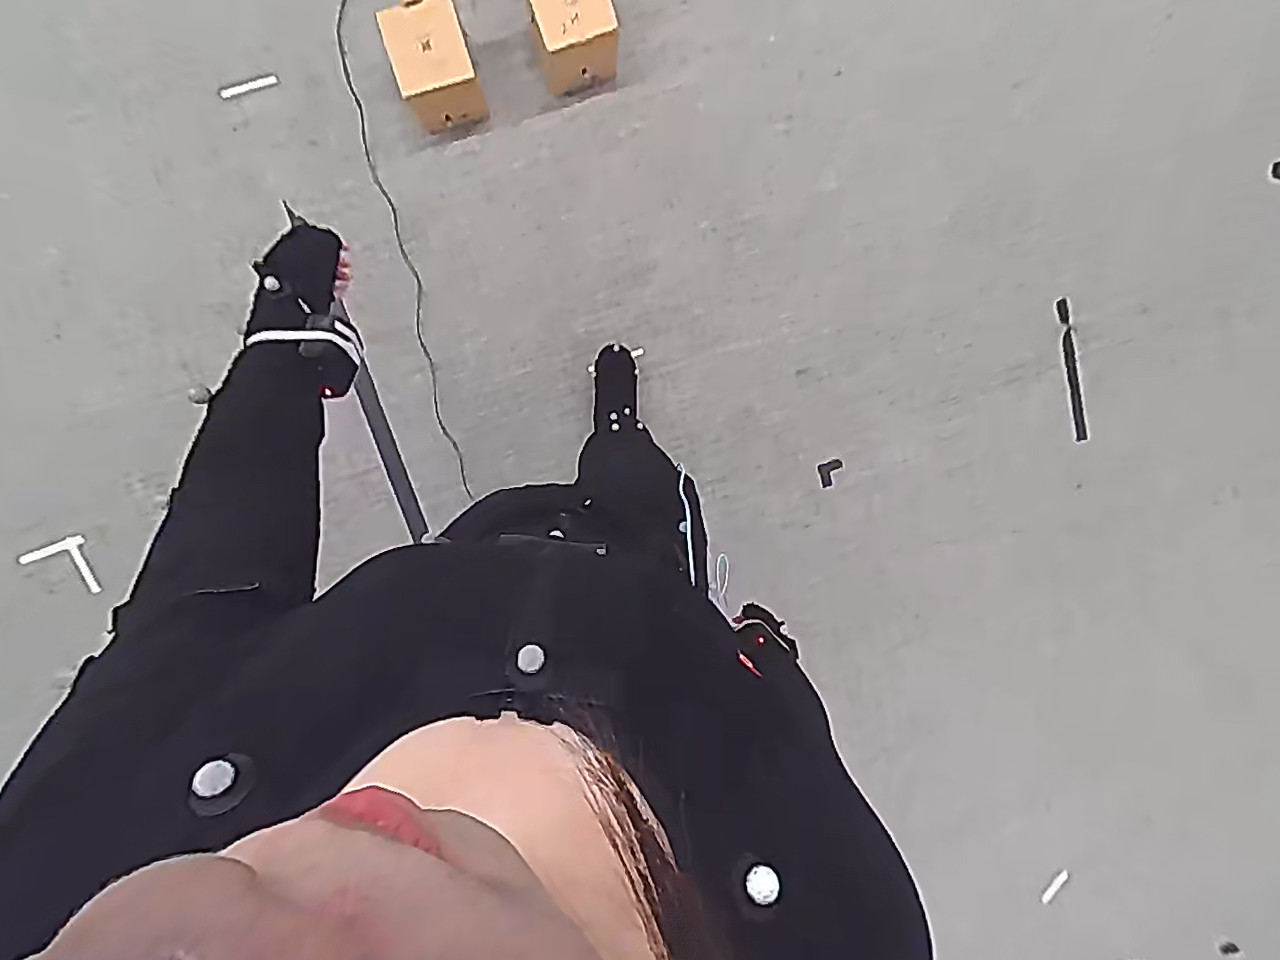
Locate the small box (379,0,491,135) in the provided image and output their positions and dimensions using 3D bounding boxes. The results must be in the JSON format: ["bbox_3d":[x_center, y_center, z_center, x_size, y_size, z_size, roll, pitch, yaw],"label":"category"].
[{"bbox_3d":[-0.458,-0.934,1.232,0.168,0.176,0.179,-16,100,0],"label":"small box"}]

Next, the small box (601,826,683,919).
[{"bbox_3d":[0.005,1.018,1.358,0.179,0.176,0.168,-14,100,-2],"label":"small box"}]

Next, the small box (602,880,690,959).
[{"bbox_3d":[0.018,1.044,1.196,0.168,0.176,0.179,-16,100,-1],"label":"small box"}]

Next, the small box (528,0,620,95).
[{"bbox_3d":[-0.153,-1.035,1.234,0.168,0.176,0.179,-20,99,0],"label":"small box"}]
